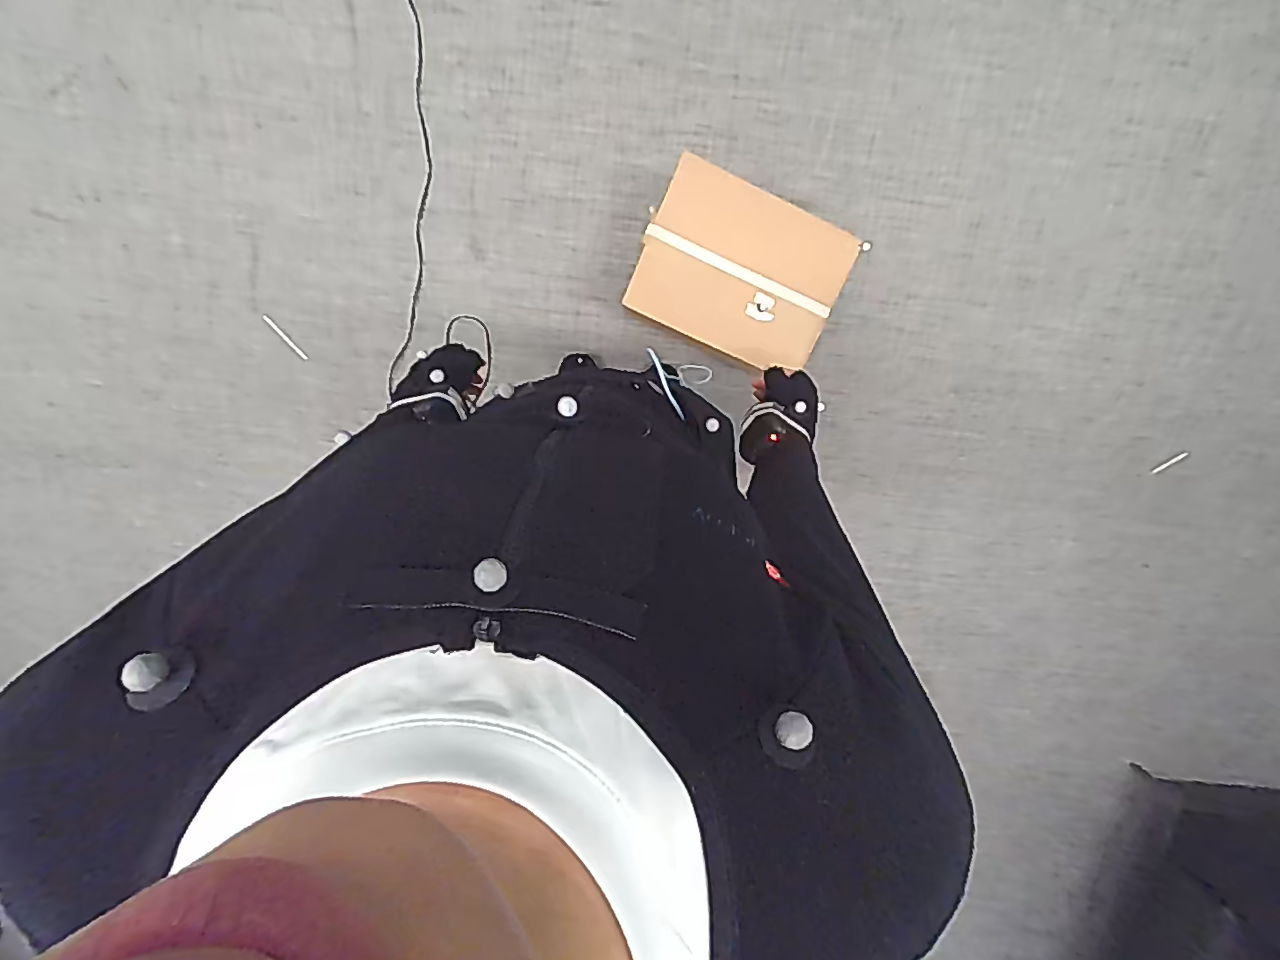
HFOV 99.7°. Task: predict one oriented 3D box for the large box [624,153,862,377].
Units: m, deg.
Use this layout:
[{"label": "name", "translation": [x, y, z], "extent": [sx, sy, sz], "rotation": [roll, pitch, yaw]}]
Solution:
[{"label": "large box", "translation": [0.202, -0.462, 1.241], "extent": [0.408, 0.320, 0.320], "rotation": [23, 103, -7]}]
